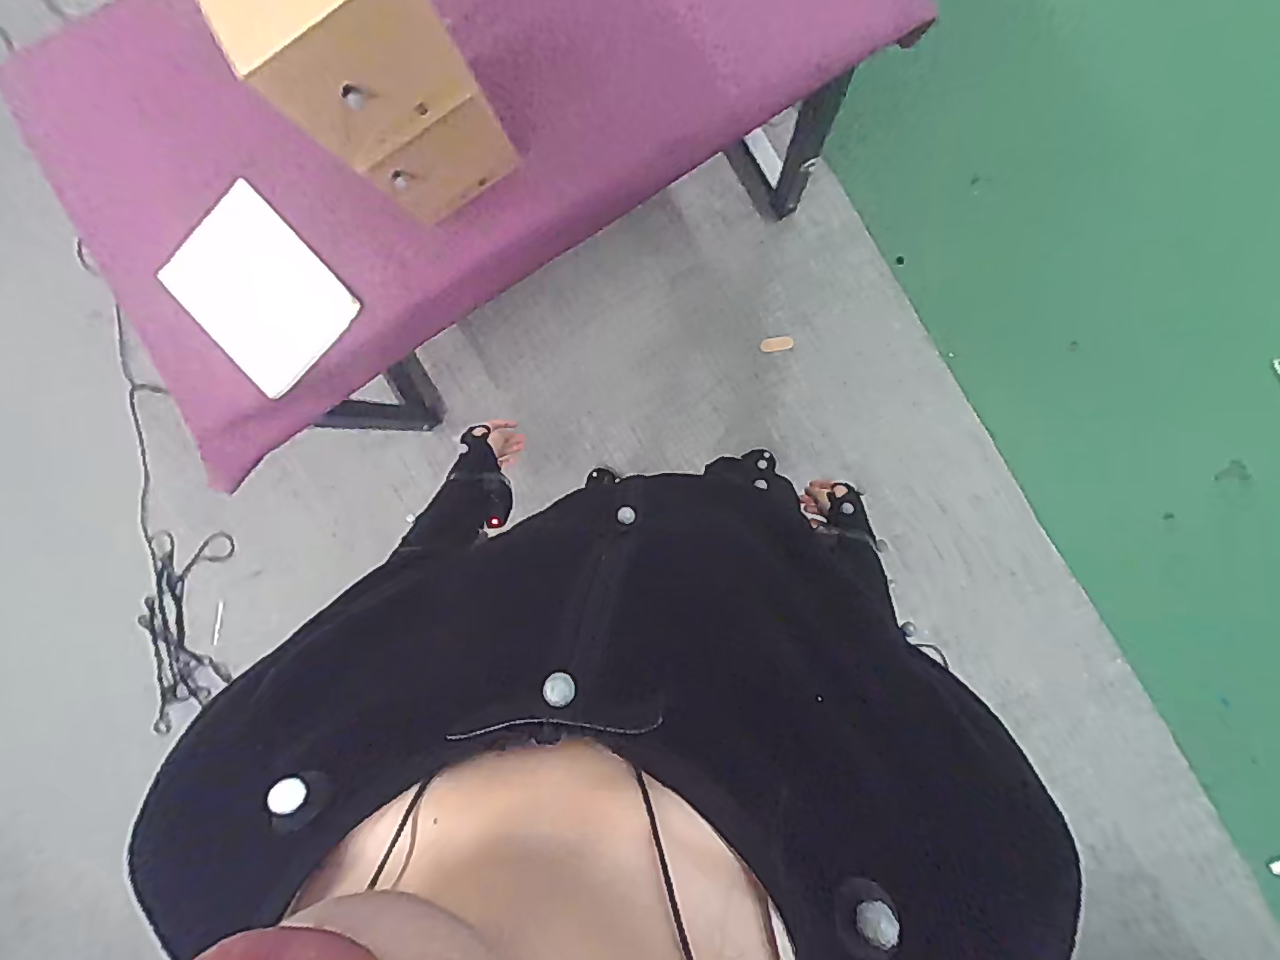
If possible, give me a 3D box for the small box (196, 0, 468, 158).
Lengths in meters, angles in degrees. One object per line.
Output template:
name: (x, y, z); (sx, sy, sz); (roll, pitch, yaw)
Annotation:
small box: (-0.302, -0.459, 0.532); (0.168, 0.176, 0.179); (-29, 89, 7)
